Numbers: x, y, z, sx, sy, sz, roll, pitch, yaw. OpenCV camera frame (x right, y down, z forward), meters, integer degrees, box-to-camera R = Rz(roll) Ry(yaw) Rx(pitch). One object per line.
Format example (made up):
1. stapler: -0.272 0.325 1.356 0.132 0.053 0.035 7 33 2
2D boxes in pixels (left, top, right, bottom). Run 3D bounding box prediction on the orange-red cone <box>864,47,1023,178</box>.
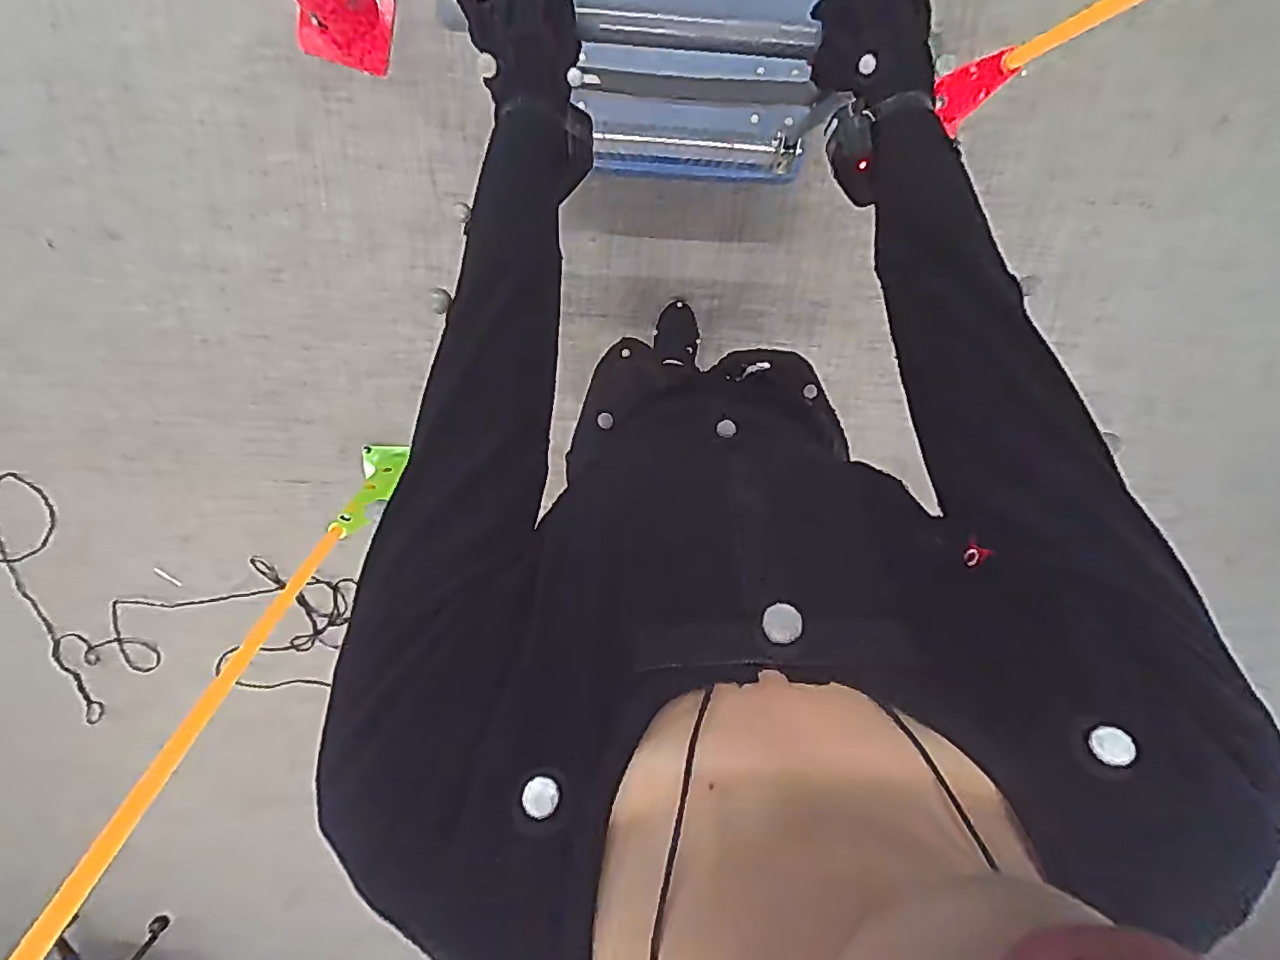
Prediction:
1. orange-red cone: 0.631 -0.762 1.074 0.198 0.360 0.199 14 109 -4
